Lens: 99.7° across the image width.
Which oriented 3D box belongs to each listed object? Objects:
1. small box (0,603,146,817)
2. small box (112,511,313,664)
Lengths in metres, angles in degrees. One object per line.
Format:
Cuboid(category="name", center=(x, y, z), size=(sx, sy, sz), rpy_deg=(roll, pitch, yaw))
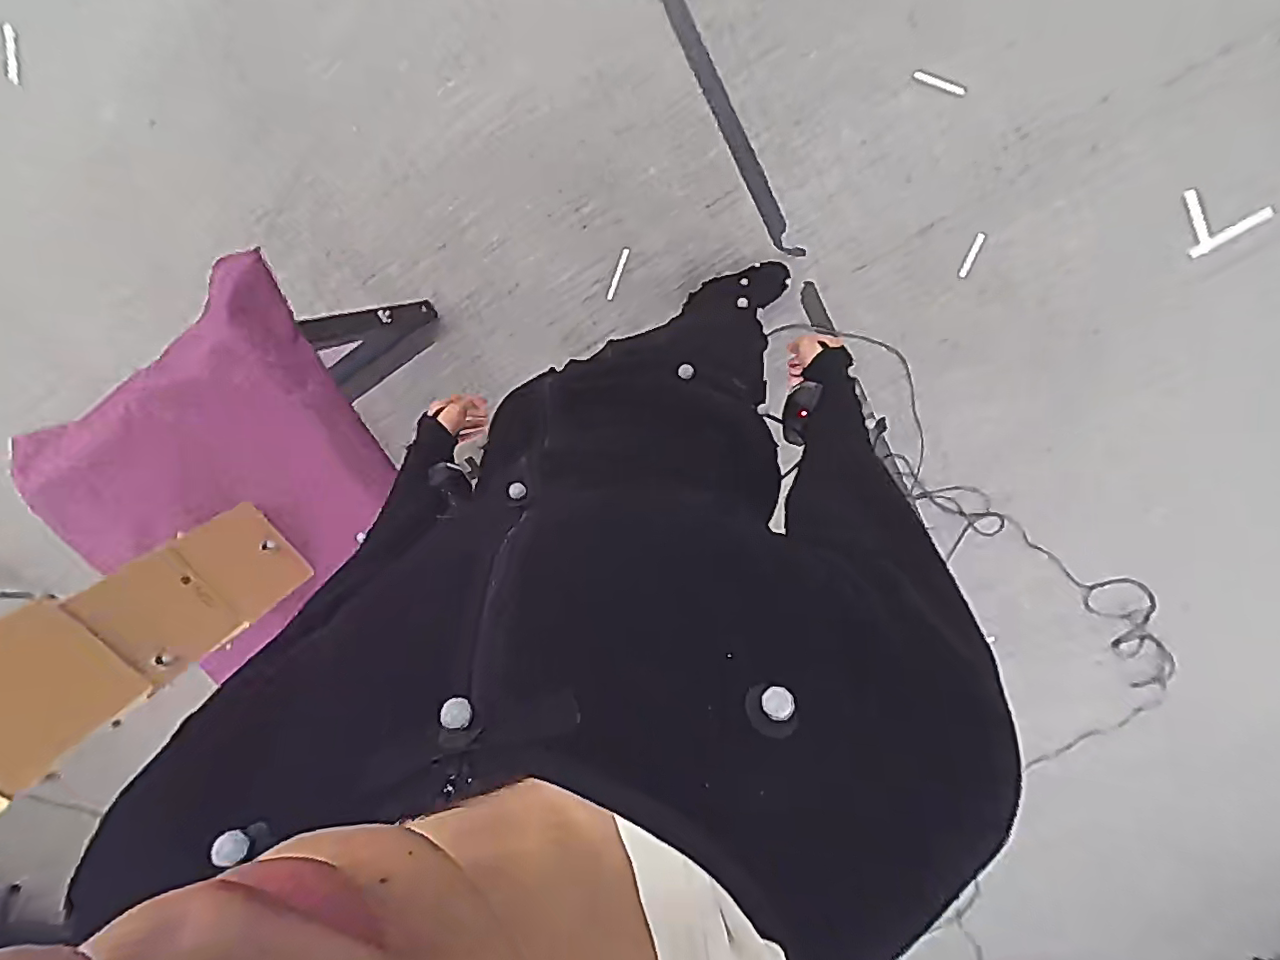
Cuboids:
Cuboid(category="small box", center=(-0.752, 0.280, 0.632), size=(0.168, 0.176, 0.179), rpy_deg=(-34, 105, 18))
Cuboid(category="small box", center=(-0.729, 0.175, 0.942), size=(0.168, 0.176, 0.179), rpy_deg=(-31, 105, 17))
